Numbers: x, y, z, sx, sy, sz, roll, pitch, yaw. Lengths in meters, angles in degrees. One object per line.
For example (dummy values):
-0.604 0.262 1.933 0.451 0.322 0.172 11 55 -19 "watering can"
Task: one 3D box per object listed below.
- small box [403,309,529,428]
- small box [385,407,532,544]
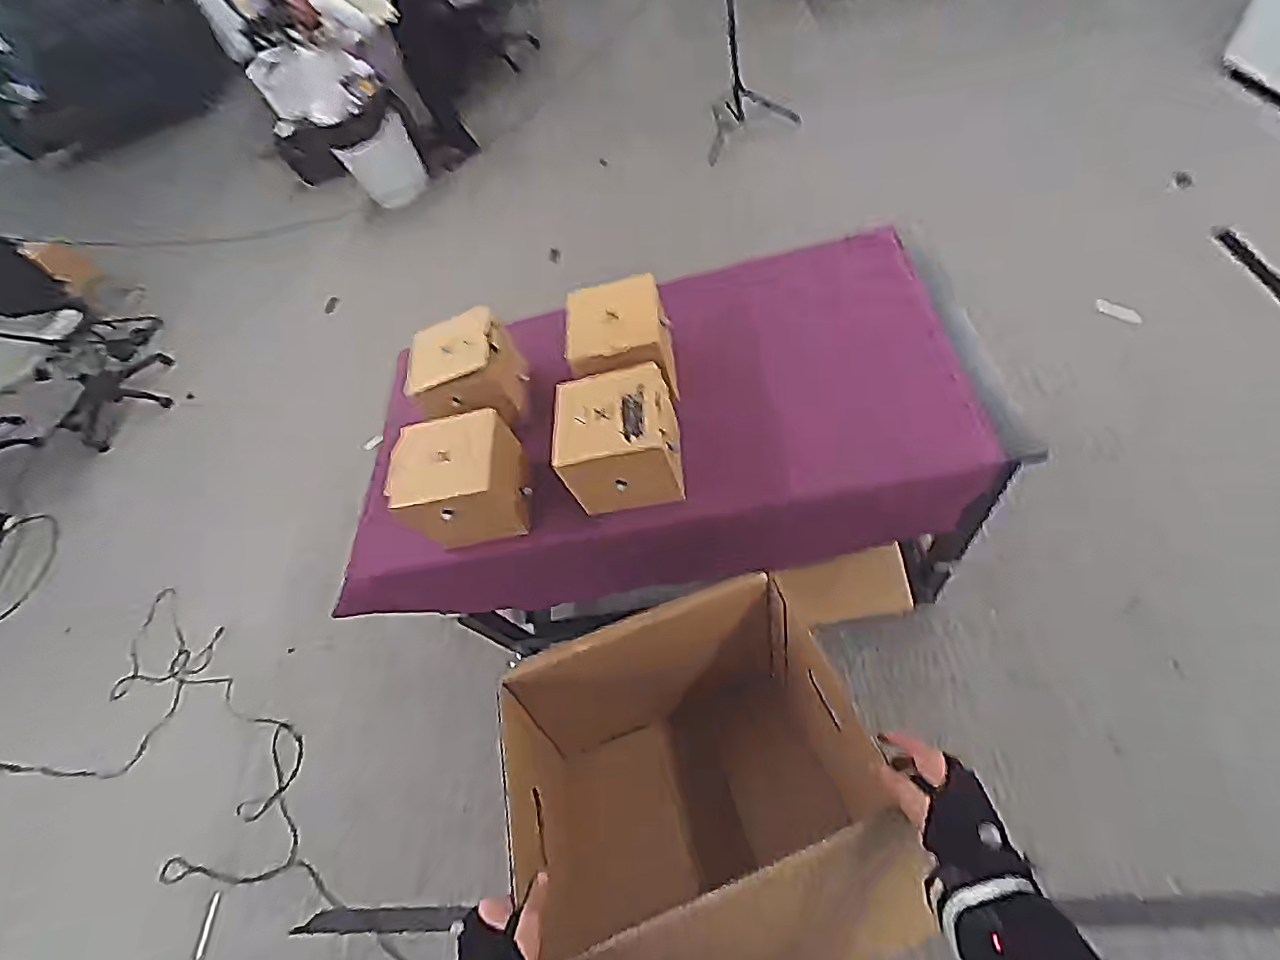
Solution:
-0.338 -0.204 1.080 0.179 0.176 0.168 -12 58 9 "small box"
-0.308 -0.001 0.952 0.179 0.176 0.168 -10 58 9 "small box"
